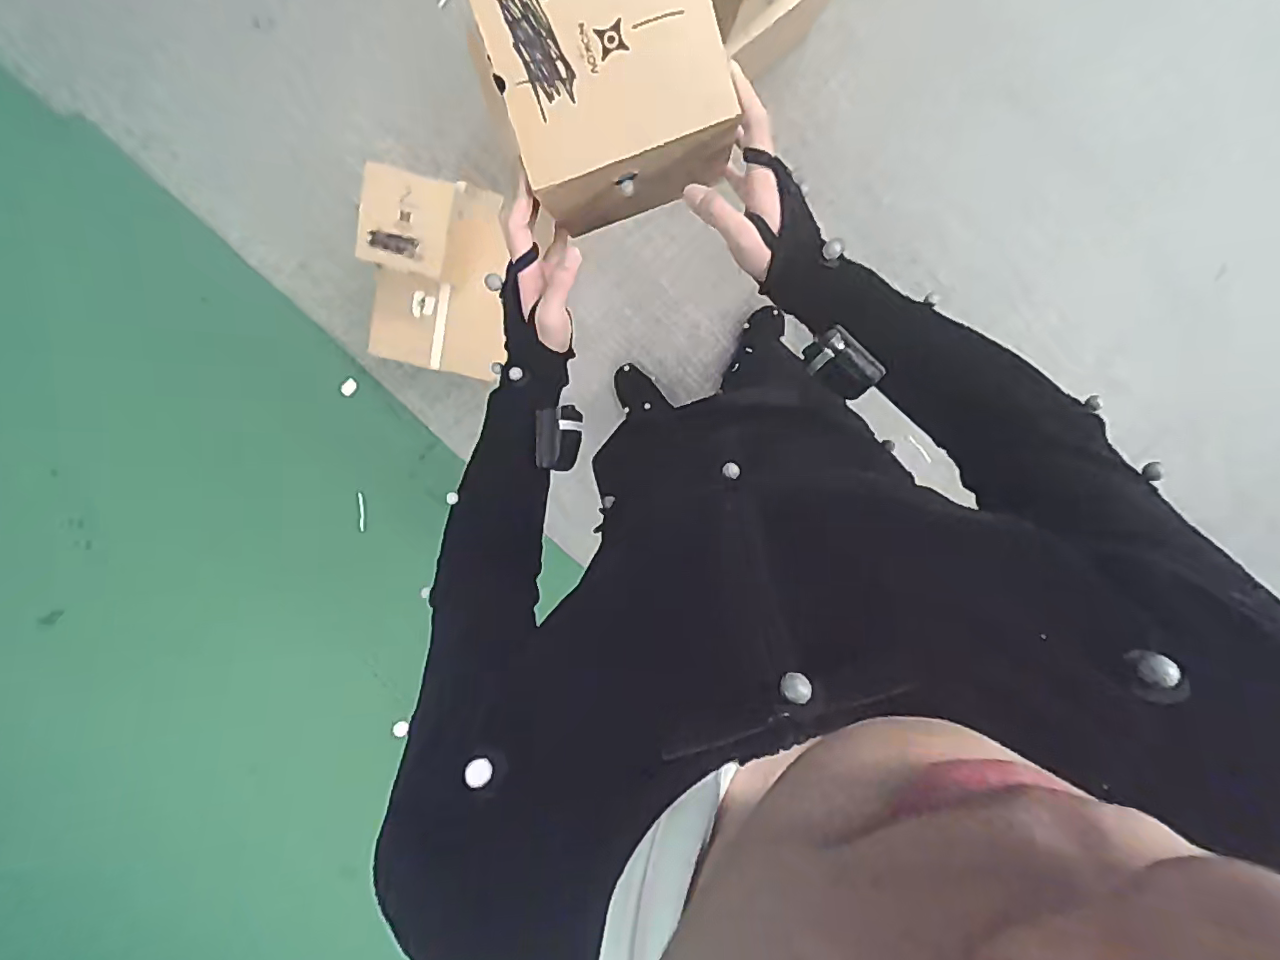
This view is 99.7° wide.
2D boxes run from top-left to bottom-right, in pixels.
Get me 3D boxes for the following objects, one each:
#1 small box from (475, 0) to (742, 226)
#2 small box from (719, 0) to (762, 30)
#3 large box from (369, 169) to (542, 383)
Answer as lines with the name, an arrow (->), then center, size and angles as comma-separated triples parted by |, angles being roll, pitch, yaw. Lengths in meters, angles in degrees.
small box -> -0.020, -0.351, 0.485 | 0.179, 0.176, 0.168 | -16, 102, 7
small box -> 0.177, -0.987, 0.996 | 0.168, 0.176, 0.179 | -38, 104, 7
large box -> -0.440, -0.484, 1.347 | 0.320, 0.320, 0.408 | 12, 104, -5
